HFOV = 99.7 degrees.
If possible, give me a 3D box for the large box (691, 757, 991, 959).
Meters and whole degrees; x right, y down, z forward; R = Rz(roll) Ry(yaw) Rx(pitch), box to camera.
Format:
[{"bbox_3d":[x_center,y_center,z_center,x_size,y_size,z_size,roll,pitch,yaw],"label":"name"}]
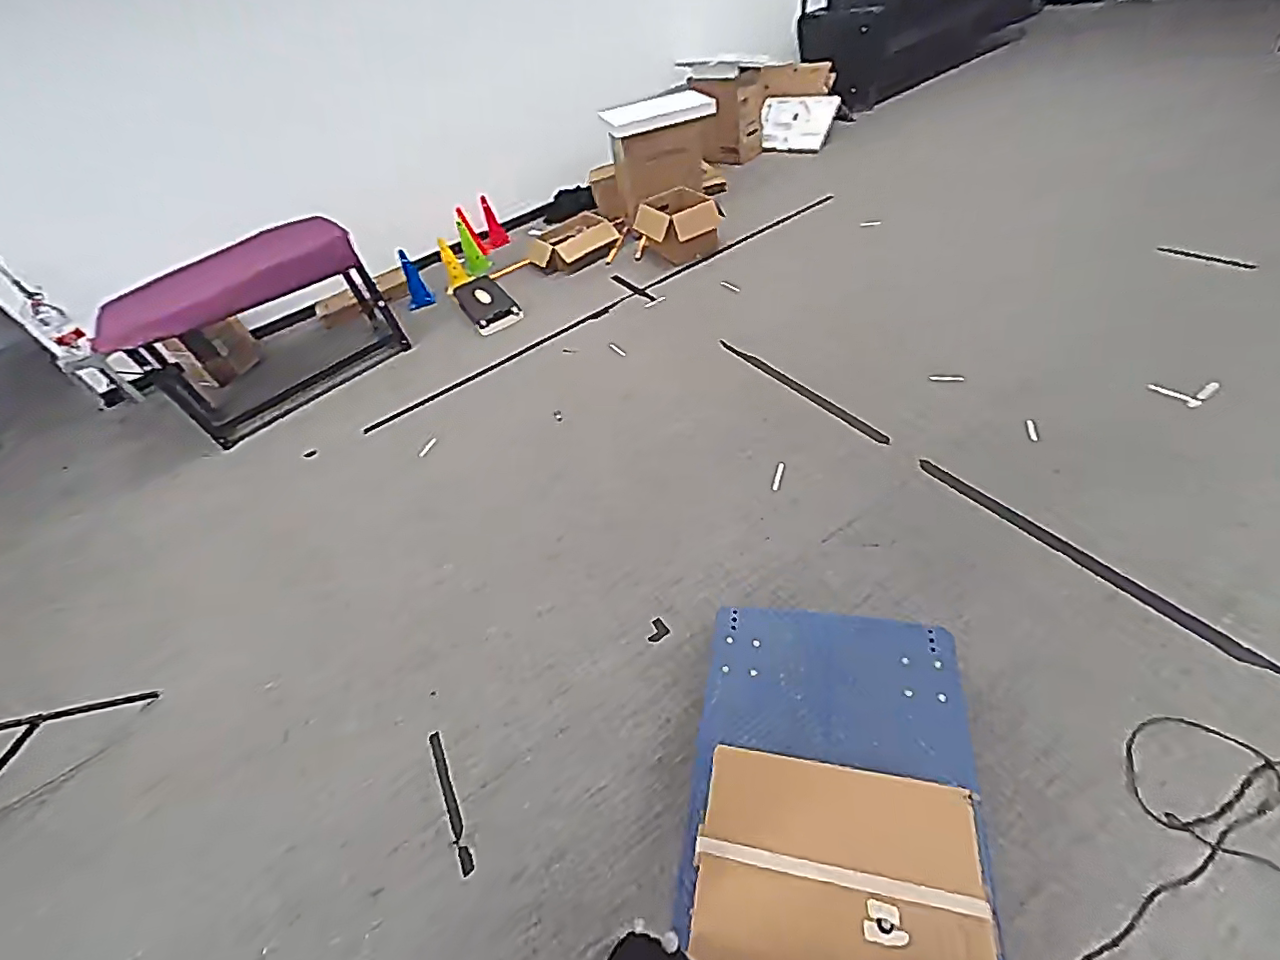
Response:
[{"bbox_3d":[0.314,0.709,0.908,0.408,0.320,0.320,2,47,17],"label":"large box"}]
